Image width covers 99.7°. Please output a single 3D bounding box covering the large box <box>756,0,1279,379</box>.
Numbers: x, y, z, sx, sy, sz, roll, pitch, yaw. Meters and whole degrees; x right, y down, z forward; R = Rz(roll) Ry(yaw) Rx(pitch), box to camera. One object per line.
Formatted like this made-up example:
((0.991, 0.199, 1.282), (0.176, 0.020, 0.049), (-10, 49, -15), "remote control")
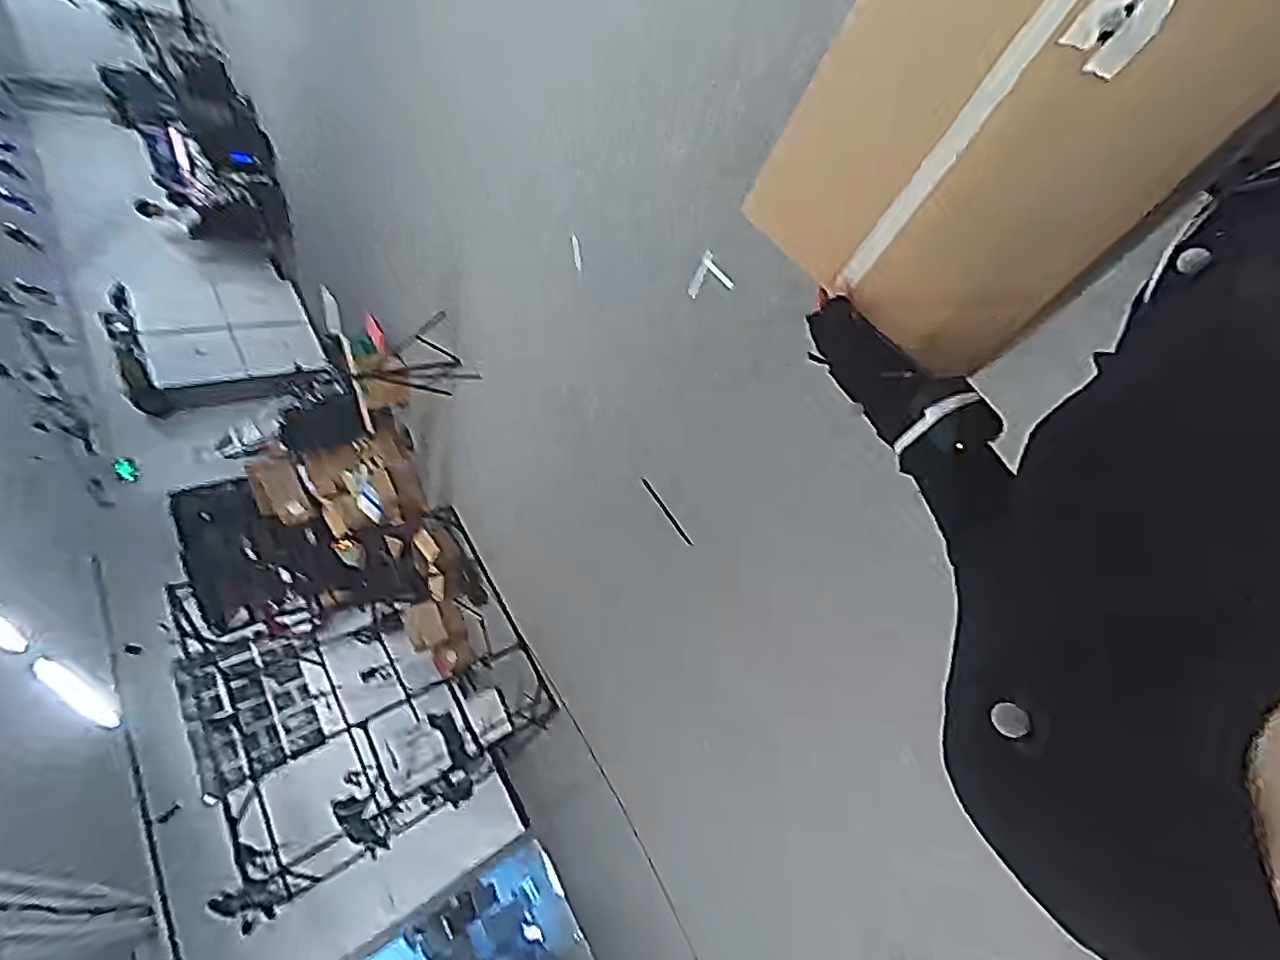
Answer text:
((0.405, -0.373, 0.562), (0.320, 0.320, 0.408), (50, 136, 17), "large box")
